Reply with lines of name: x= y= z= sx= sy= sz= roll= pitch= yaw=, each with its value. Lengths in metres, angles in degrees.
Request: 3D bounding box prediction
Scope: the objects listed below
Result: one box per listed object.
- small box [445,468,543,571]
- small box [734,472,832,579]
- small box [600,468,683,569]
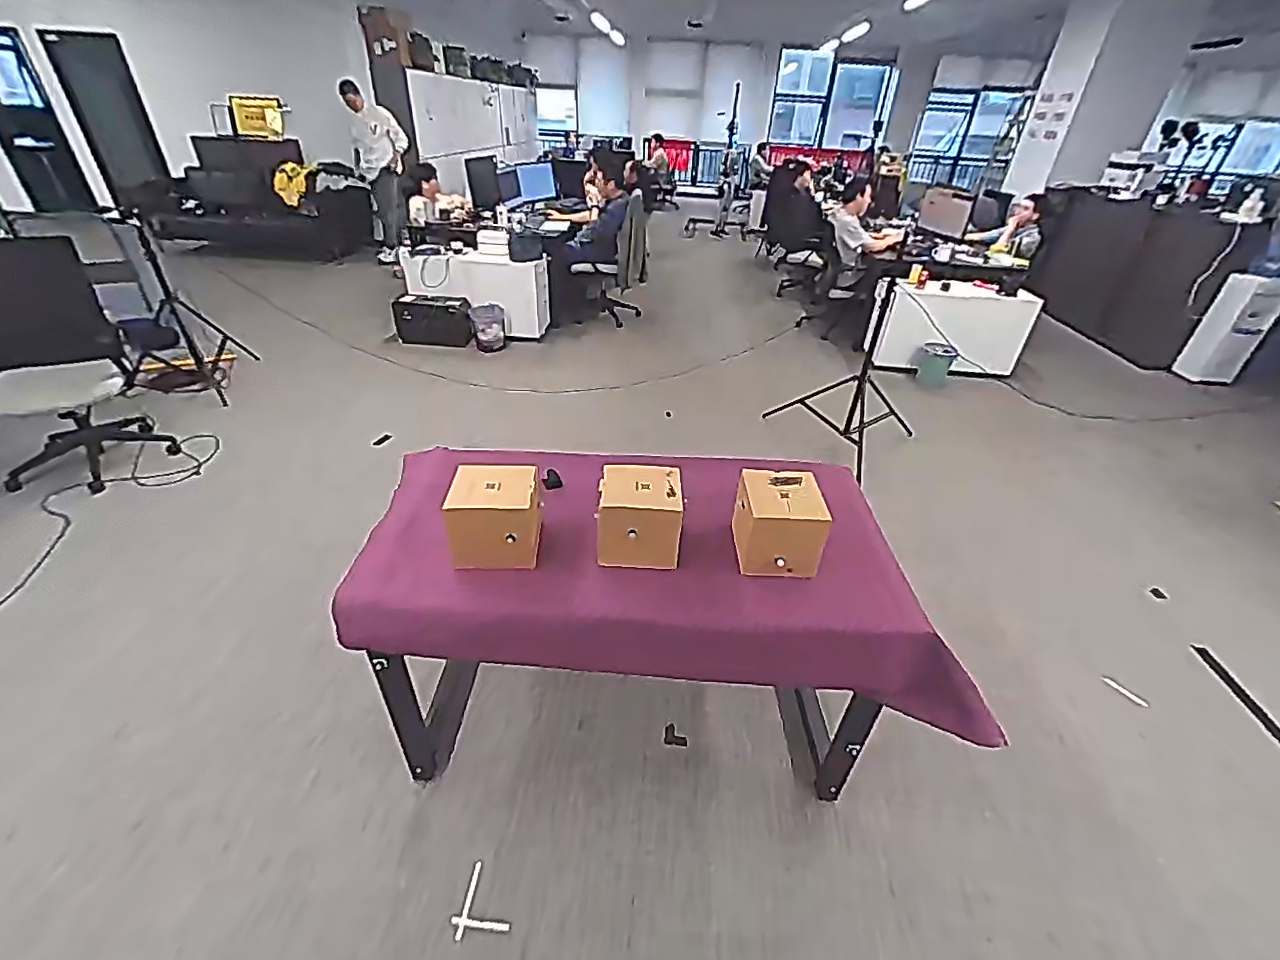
small box: x=-0.313 y=0.088 z=1.199 sx=0.179 sy=0.176 sz=0.168 roll=-1 pitch=33 yaw=-4
small box: x=0.314 y=0.100 z=1.224 sx=0.168 sy=0.176 sz=0.179 roll=2 pitch=34 yaw=0
small box: x=0.003 y=0.087 z=1.224 sx=0.179 sy=0.176 sz=0.168 roll=2 pitch=33 yaw=0
